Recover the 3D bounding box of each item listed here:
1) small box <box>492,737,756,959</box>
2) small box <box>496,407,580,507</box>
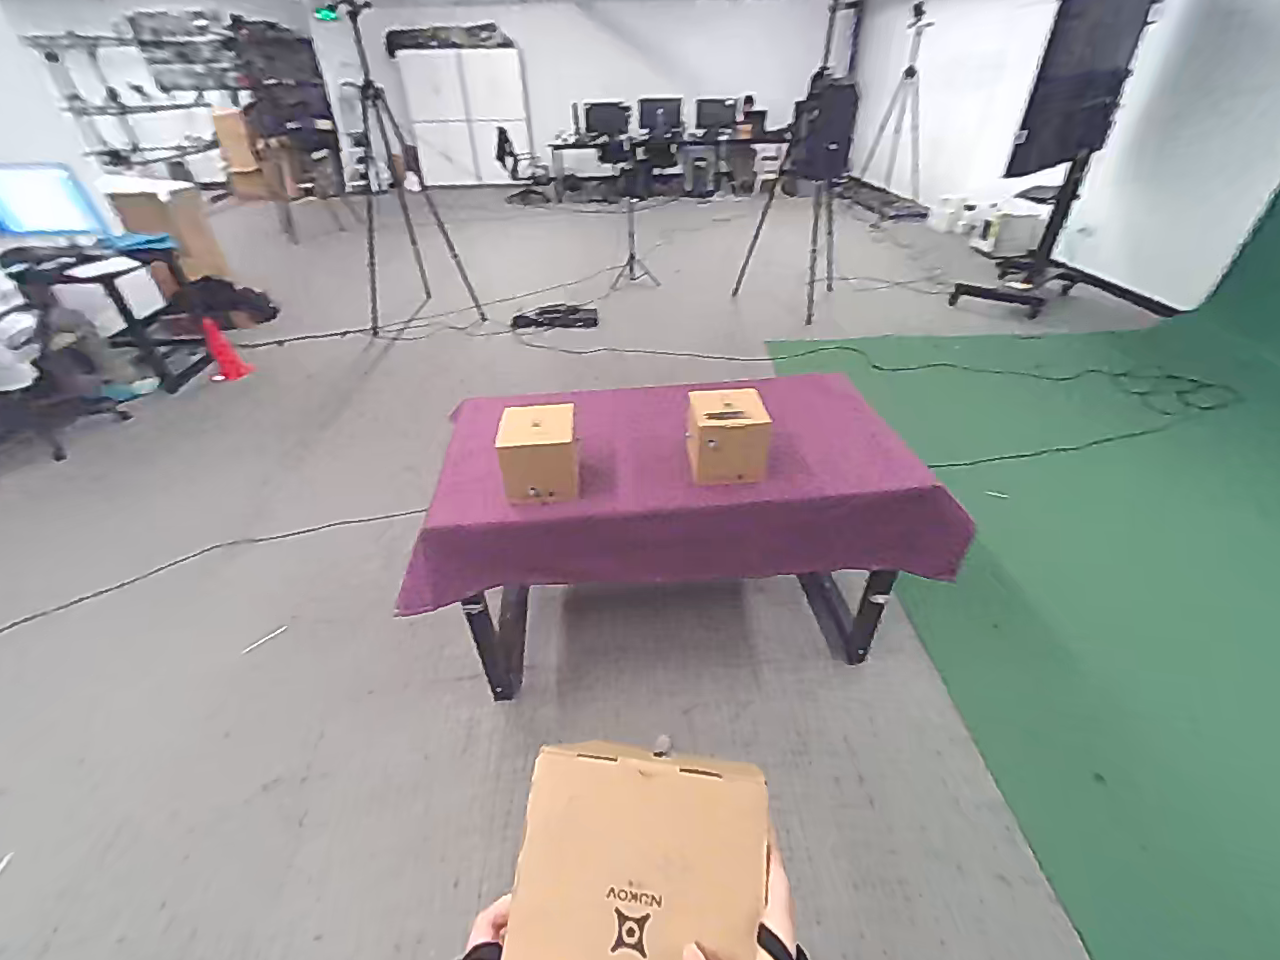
[{"bbox_3d":[0.001,0.308,0.424,0.168,0.176,0.179,2,65,11],"label":"small box"},{"bbox_3d":[-0.234,-0.056,1.285,0.168,0.176,0.179,-4,37,-2],"label":"small box"}]
